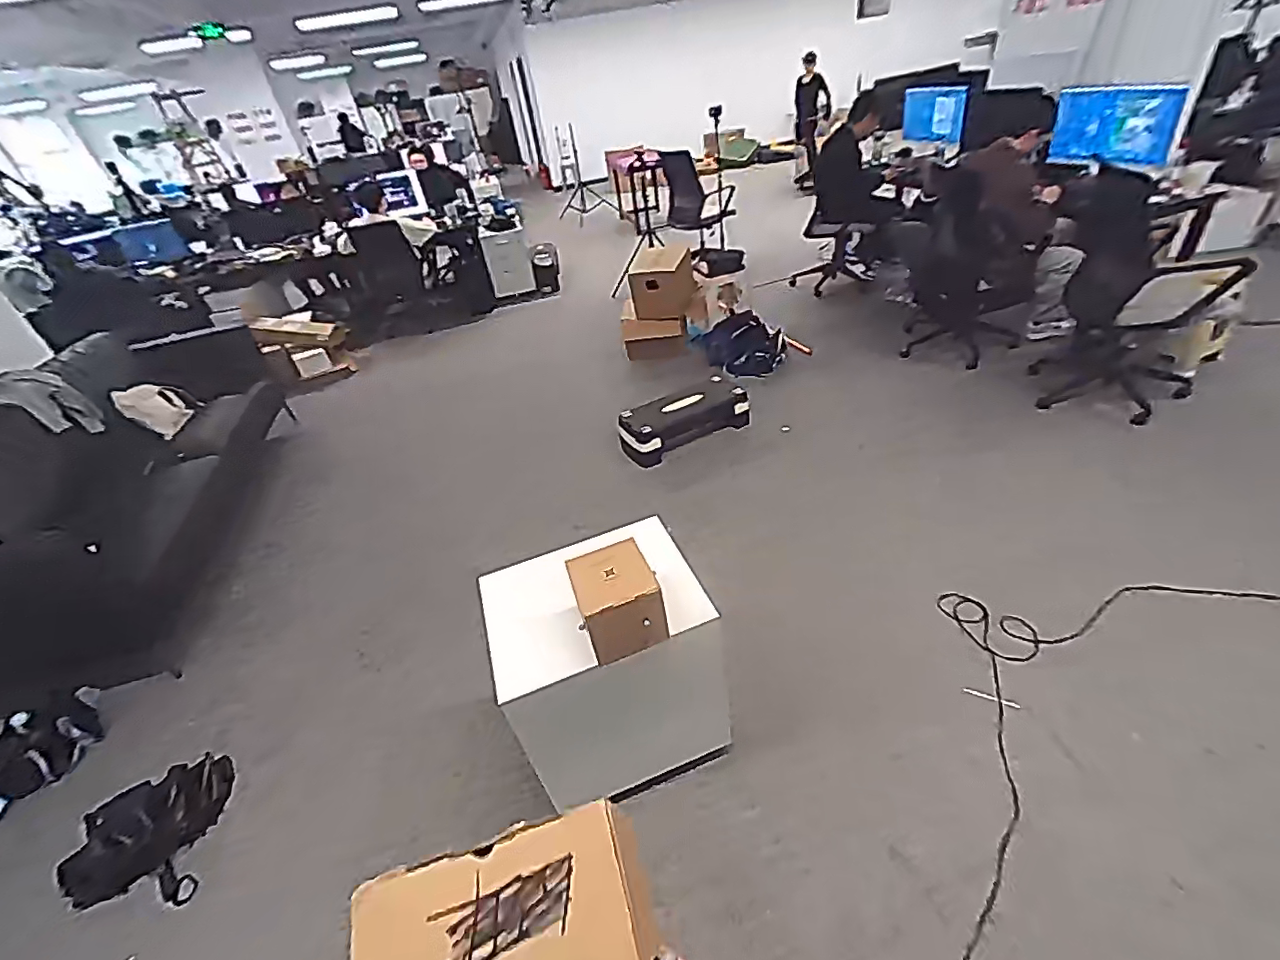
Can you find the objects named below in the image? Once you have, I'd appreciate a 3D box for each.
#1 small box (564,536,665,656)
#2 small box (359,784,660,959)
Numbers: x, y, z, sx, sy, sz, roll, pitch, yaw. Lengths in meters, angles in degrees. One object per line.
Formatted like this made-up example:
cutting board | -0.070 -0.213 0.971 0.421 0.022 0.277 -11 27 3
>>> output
small box | -0.054 0.259 1.188 0.168 0.176 0.179 -18 35 -13
small box | -0.075 0.340 0.374 0.168 0.176 0.179 -15 54 -6
